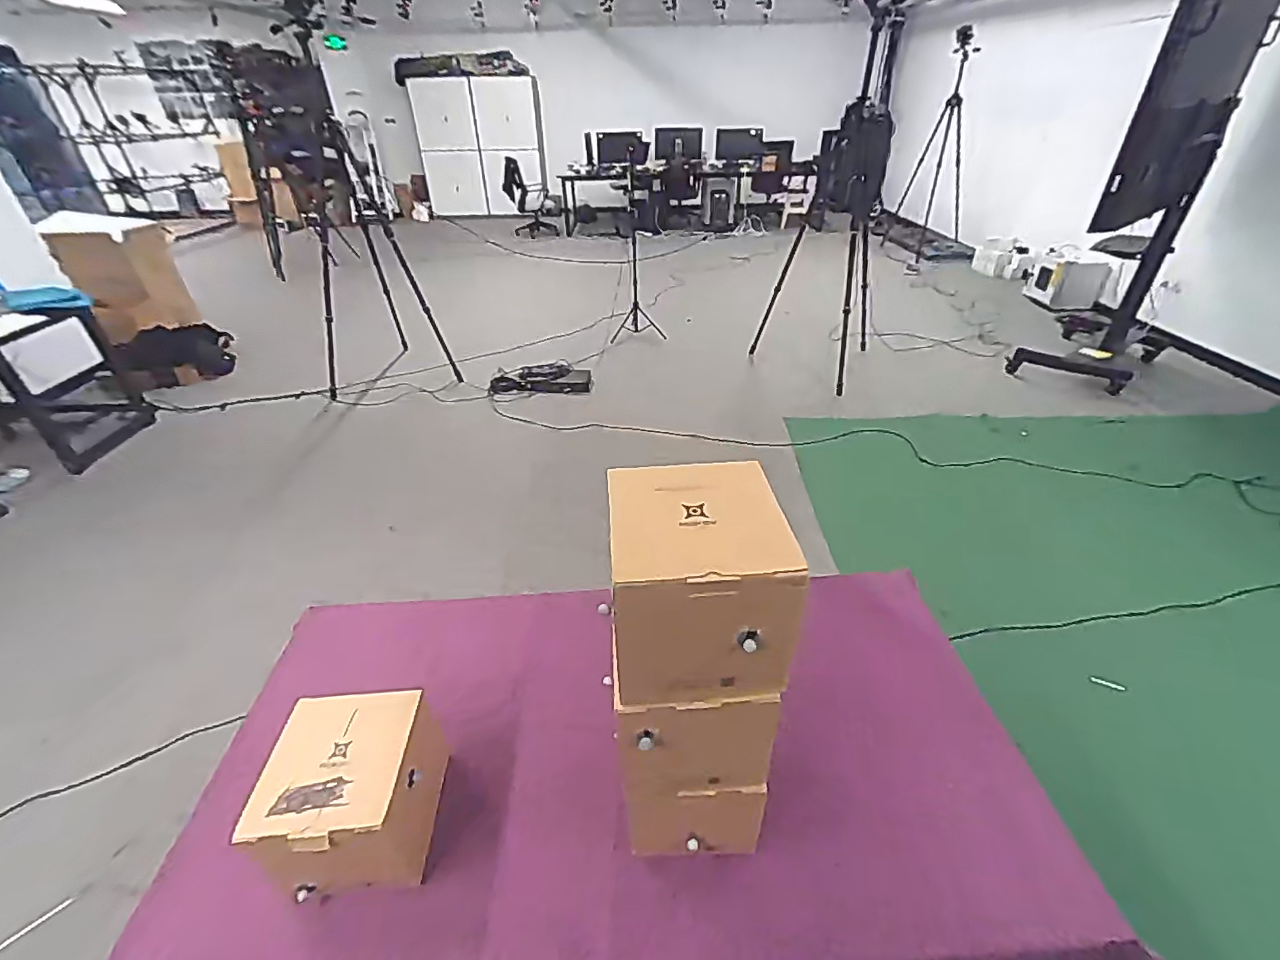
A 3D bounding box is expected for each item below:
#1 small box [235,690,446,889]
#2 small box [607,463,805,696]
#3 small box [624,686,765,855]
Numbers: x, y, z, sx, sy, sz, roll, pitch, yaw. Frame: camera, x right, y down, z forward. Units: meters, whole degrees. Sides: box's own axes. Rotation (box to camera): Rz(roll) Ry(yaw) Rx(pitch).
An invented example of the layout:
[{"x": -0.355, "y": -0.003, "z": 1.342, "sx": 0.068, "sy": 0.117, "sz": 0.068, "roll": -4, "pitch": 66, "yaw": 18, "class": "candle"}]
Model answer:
[{"x": -0.367, "y": 0.406, "z": 0.709, "sx": 0.168, "sy": 0.176, "sz": 0.179, "roll": -3, "pitch": 34, "yaw": -3, "class": "small box"}, {"x": 0.054, "y": 0.102, "z": 0.553, "sx": 0.168, "sy": 0.176, "sz": 0.179, "roll": -3, "pitch": 34, "yaw": -3, "class": "small box"}, {"x": 0.065, "y": 0.375, "z": 0.734, "sx": 0.168, "sy": 0.176, "sz": 0.179, "roll": -2, "pitch": 35, "yaw": 1, "class": "small box"}]
